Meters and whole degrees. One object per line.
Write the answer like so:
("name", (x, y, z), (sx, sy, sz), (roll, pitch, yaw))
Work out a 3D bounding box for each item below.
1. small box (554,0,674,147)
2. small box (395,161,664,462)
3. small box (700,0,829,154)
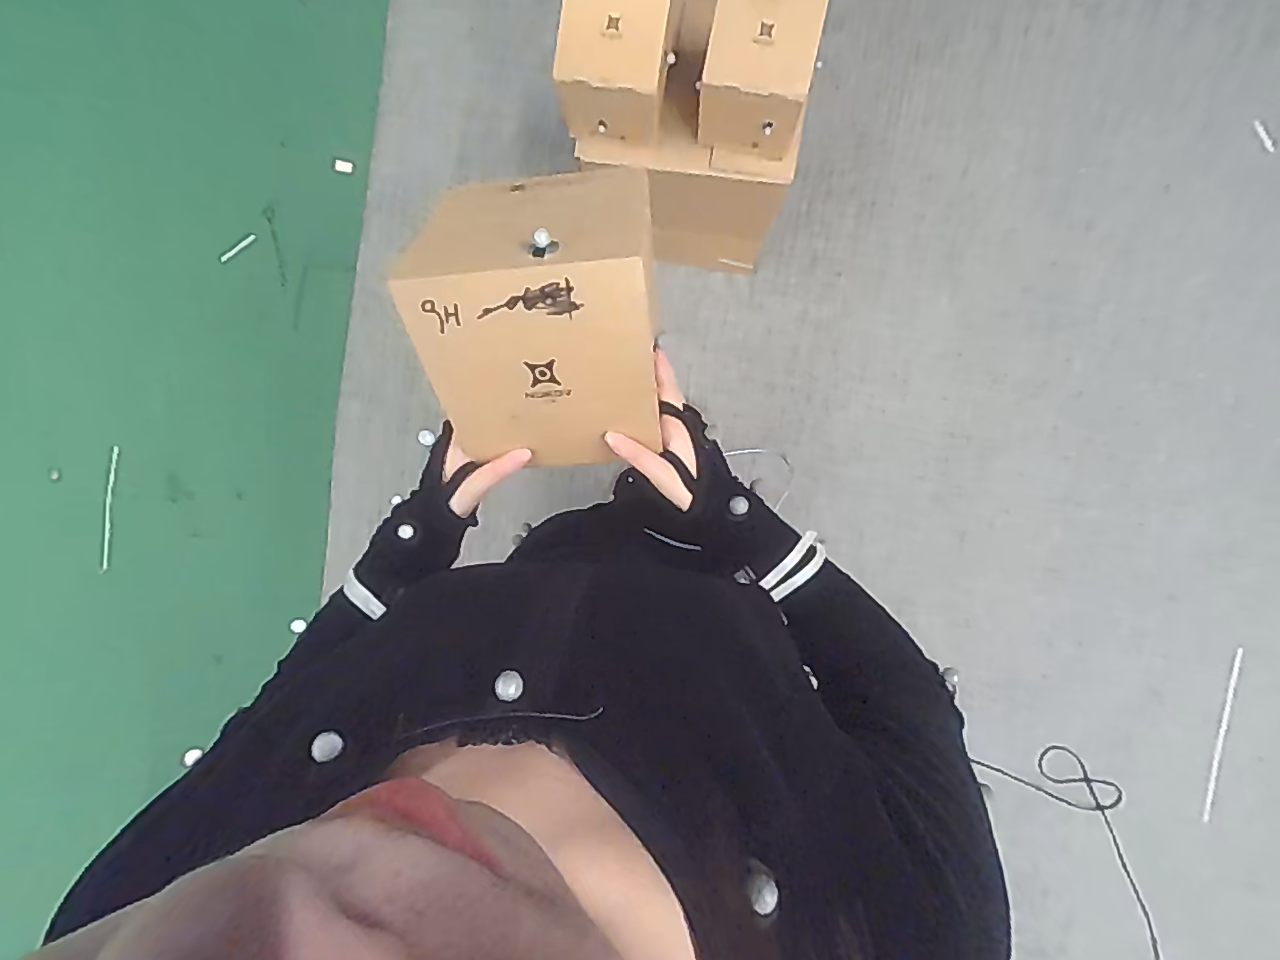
("small box", (-0.039, -0.702, 0.908), (0.168, 0.176, 0.179), (9, 96, 1))
("small box", (-0.066, -0.137, 0.451), (0.168, 0.176, 0.179), (-4, 137, 5))
("small box", (0.196, -0.679, 0.896), (0.168, 0.176, 0.179), (12, 93, 3))
